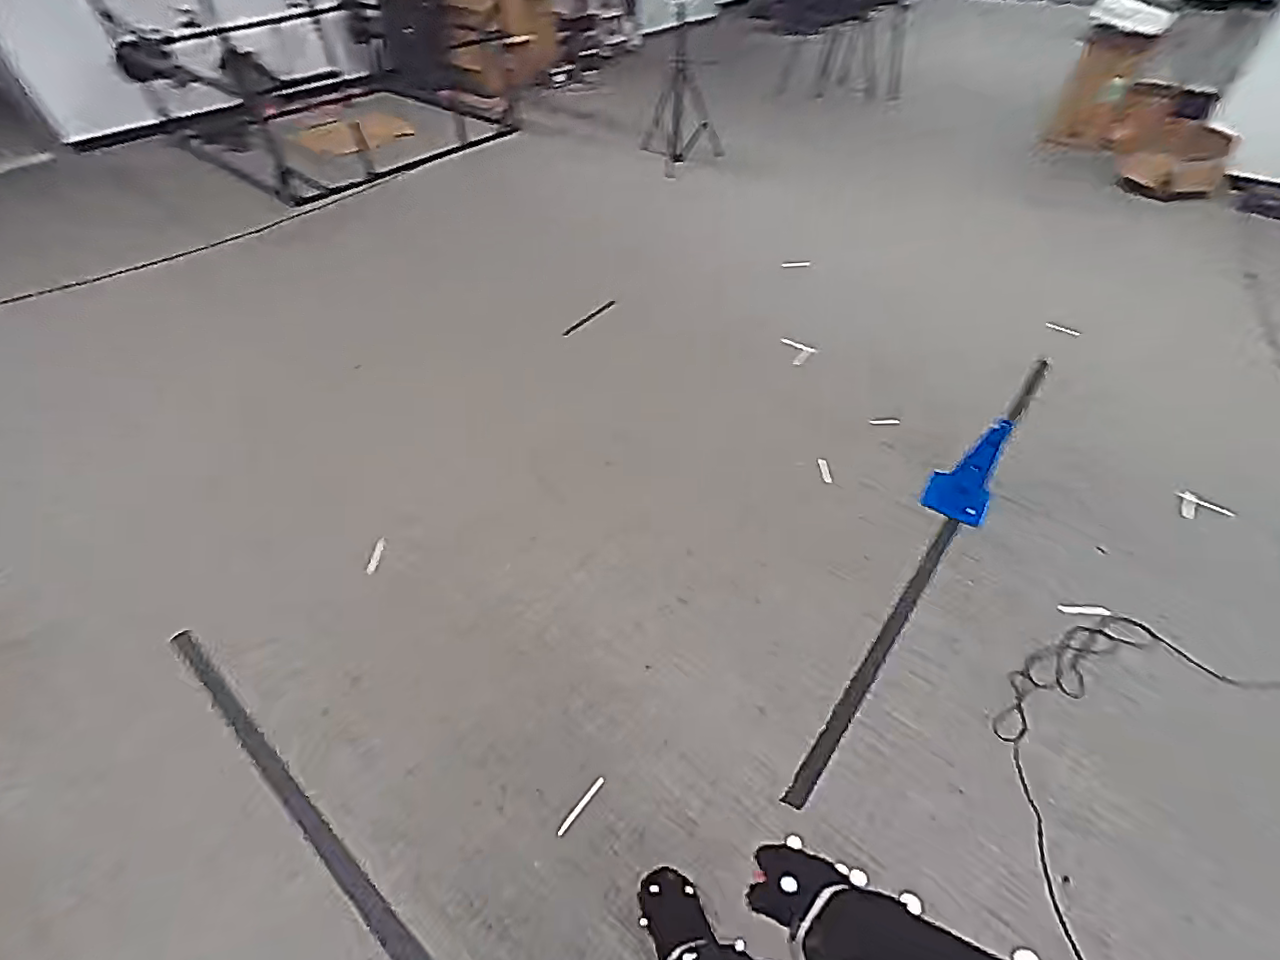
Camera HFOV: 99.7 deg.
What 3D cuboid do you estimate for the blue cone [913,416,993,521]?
[{"bbox_3d":[1.081,-0.055,1.794,0.192,0.380,0.193,27,53,24],"label":"blue cone"}]
